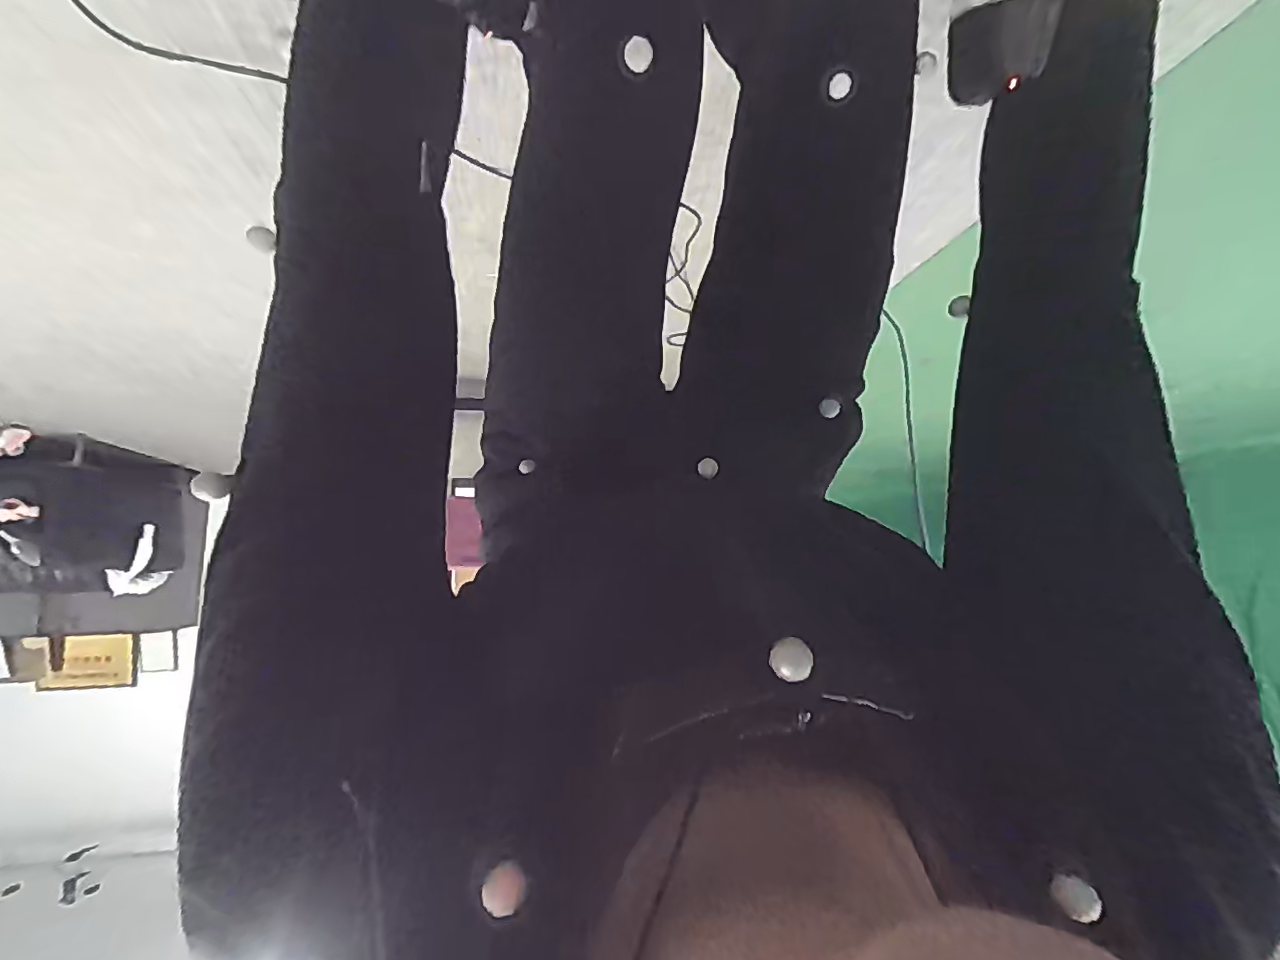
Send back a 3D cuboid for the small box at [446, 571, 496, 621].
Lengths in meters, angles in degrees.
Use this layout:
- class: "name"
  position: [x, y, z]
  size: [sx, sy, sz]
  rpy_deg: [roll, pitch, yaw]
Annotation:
- class: "small box"
  position: [-0.640, 0.433, 2.040]
  size: [0.179, 0.176, 0.168]
  rpy_deg: [2, 170, -18]
